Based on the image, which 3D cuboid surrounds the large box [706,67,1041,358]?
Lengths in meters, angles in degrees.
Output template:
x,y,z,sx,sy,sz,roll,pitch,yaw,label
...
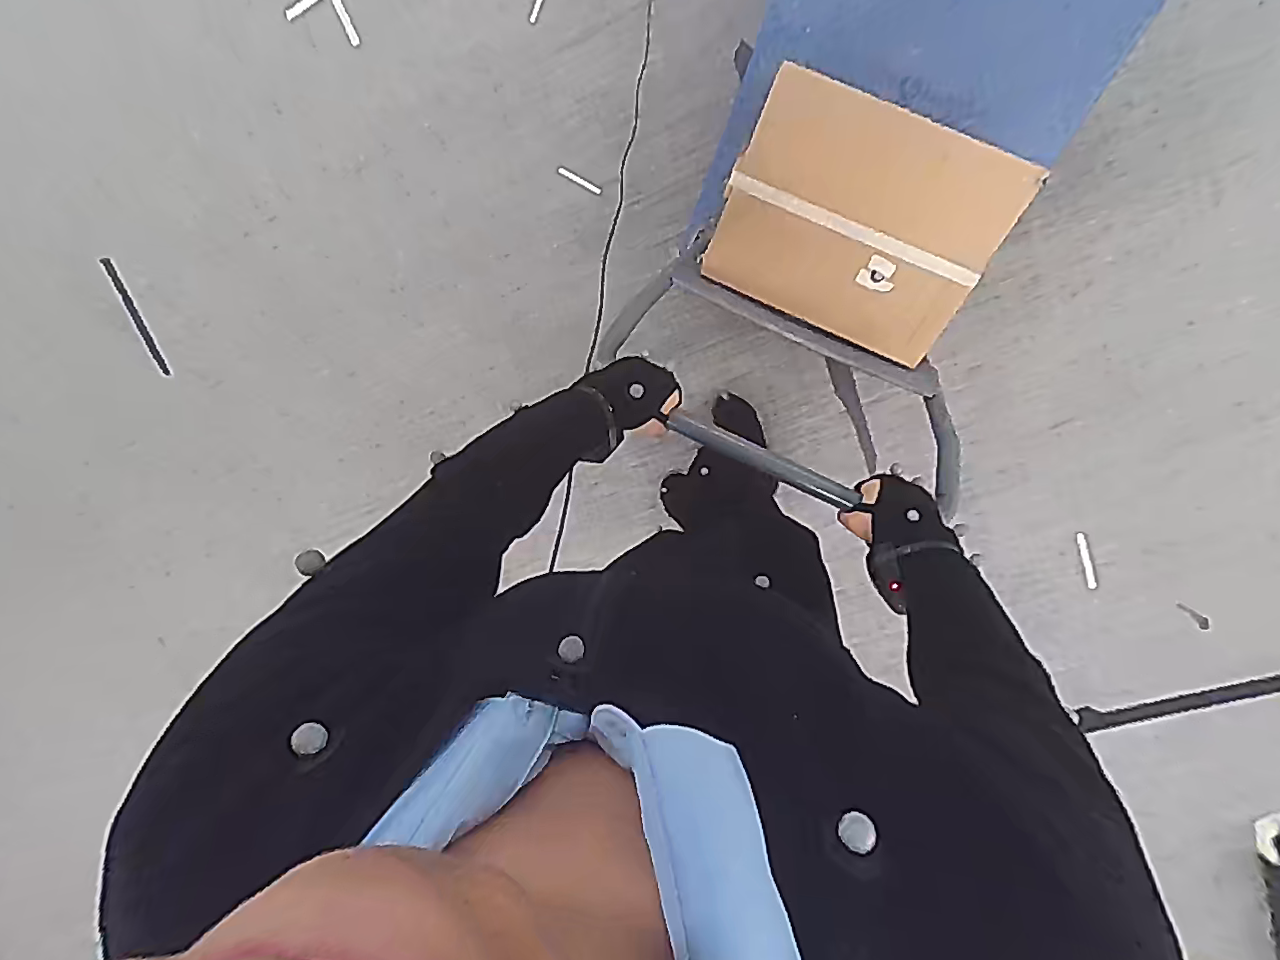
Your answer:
x,y,z,sx,sy,sz,roll,pitch,yaw,label
0.378,-0.477,0.979,0.408,0.320,0.320,25,125,2,large box
